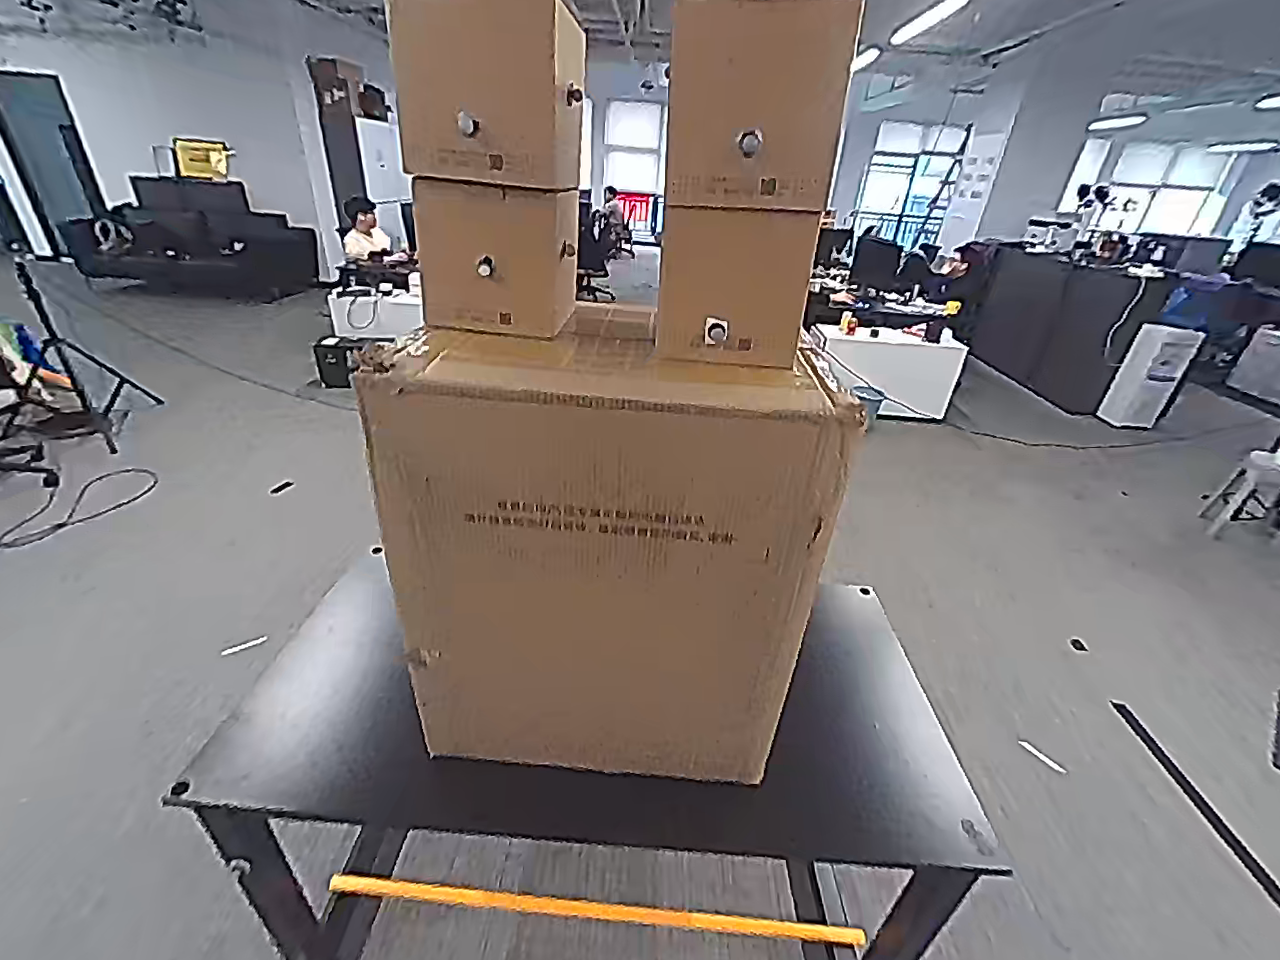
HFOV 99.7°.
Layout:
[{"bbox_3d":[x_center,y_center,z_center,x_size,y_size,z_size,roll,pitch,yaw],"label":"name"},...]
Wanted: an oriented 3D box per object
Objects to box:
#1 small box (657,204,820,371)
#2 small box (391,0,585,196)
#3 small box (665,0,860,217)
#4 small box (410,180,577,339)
[{"bbox_3d":[0.110,-0.246,0.671,0.168,0.176,0.179,4,31,4],"label":"small box"},{"bbox_3d":[-0.161,-0.428,0.616,0.168,0.176,0.179,6,30,1],"label":"small box"},{"bbox_3d":[0.117,-0.386,0.583,0.168,0.176,0.179,5,30,6],"label":"small box"},{"bbox_3d":[-0.178,-0.293,0.712,0.168,0.176,0.179,6,30,-1],"label":"small box"}]
